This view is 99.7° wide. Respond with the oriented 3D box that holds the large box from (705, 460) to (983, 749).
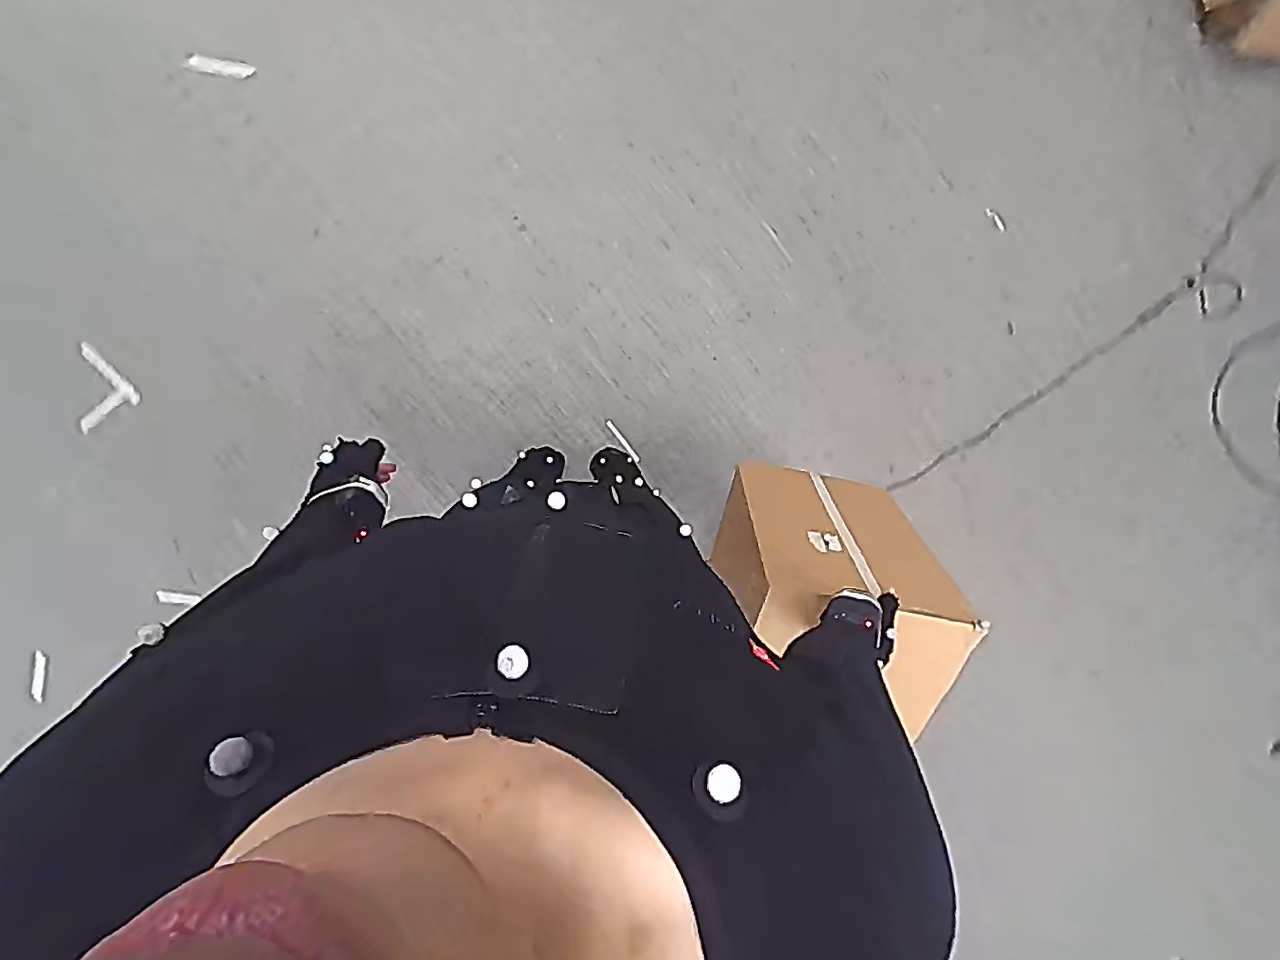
[{"bbox_3d":[0.318,0.208,1.003,0.320,0.408,0.320,9,119,-2],"label":"large box"}]
